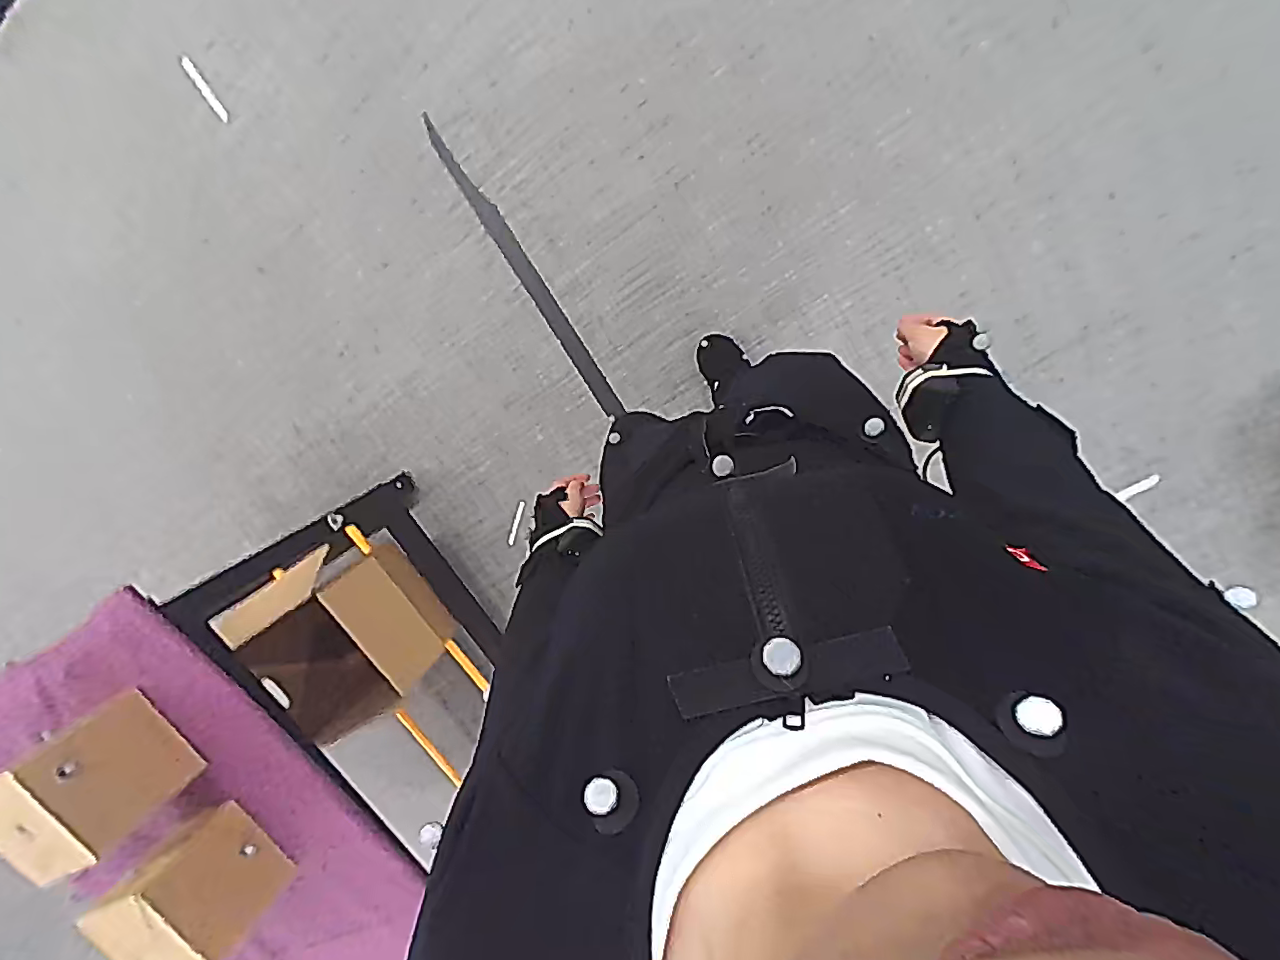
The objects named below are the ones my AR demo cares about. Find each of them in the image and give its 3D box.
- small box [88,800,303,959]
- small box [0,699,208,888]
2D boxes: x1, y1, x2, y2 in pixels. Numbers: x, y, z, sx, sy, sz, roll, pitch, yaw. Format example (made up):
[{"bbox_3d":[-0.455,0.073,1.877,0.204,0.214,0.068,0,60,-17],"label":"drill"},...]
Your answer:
[{"bbox_3d":[-0.712,0.673,0.875,0.168,0.176,0.179,-30,102,17],"label":"small box"},{"bbox_3d":[-0.834,0.465,0.828,0.168,0.176,0.179,-30,101,18],"label":"small box"}]
